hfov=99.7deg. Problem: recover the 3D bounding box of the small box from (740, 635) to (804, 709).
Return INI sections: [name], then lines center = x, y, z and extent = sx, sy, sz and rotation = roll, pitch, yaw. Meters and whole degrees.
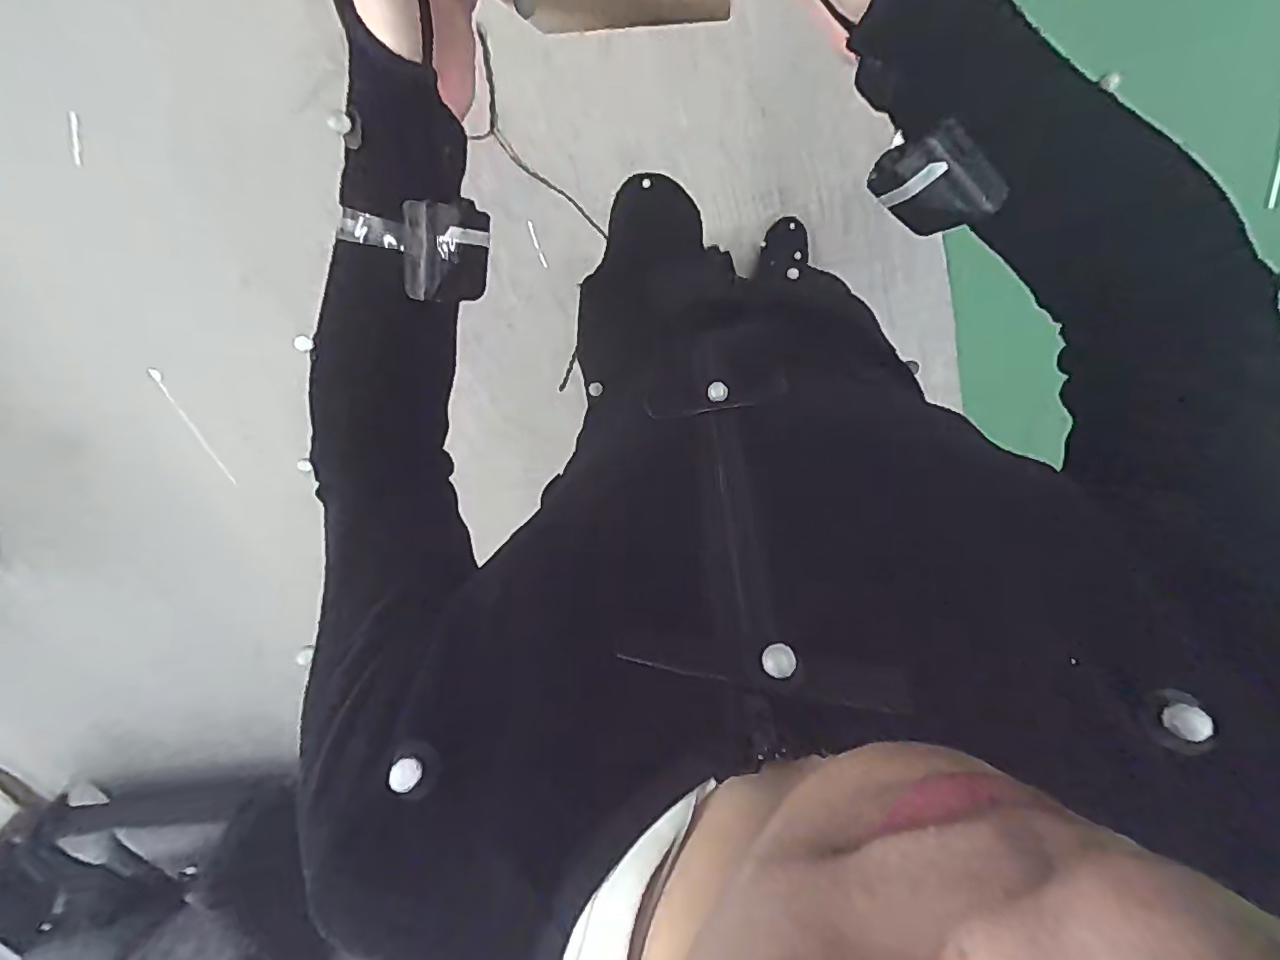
[small box]
center = 0.420, 0.618, 1.737
extent = 0.168, 0.176, 0.179
rotation = -14, 114, 17
